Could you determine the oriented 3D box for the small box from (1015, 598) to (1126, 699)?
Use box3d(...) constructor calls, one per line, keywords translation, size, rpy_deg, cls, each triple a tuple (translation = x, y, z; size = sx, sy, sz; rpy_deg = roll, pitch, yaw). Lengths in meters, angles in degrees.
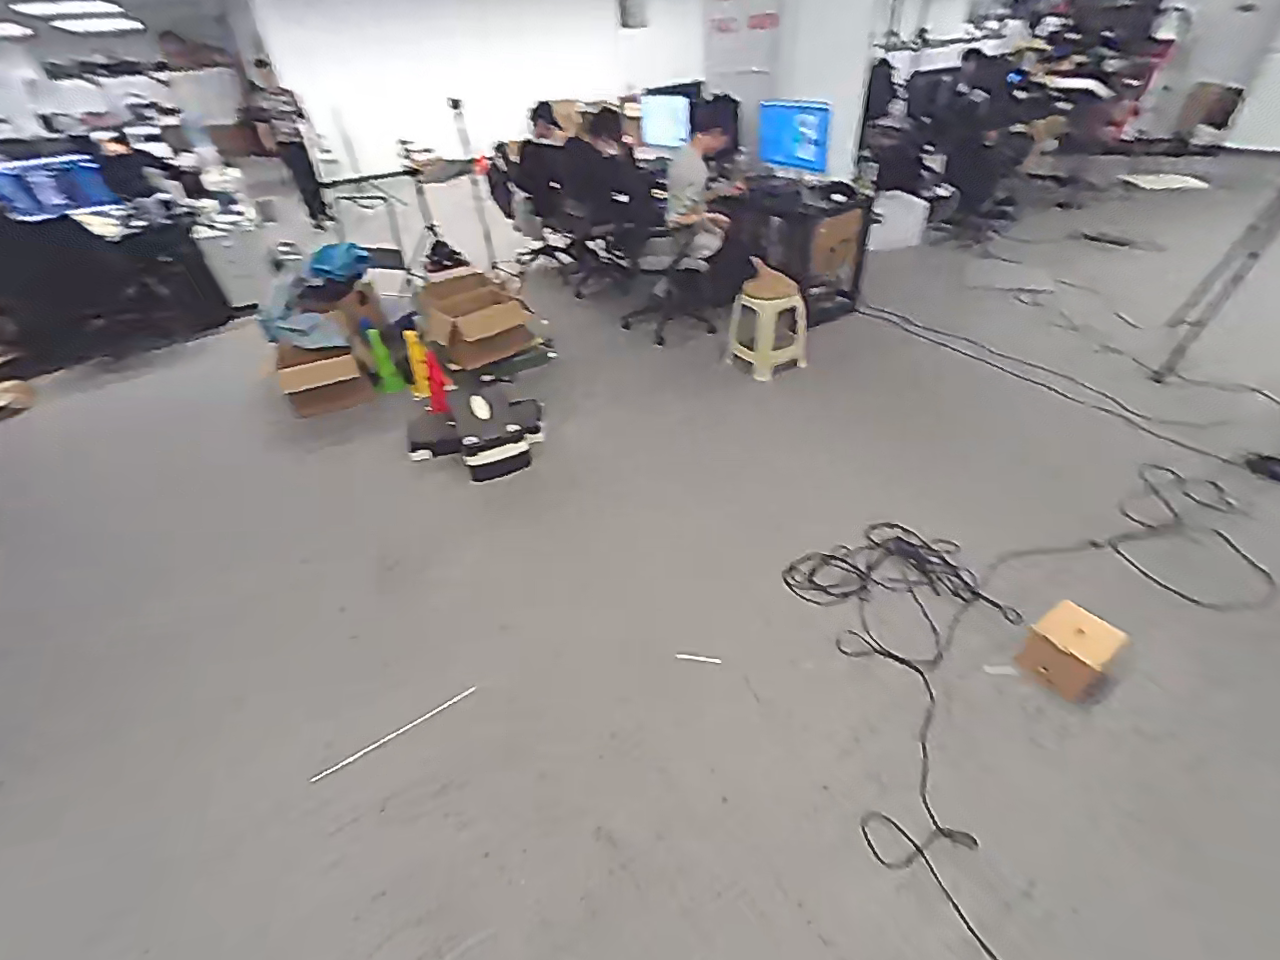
box3d(translation=(1.215, 0.479, 1.539), size=(0.179, 0.176, 0.168), rpy_deg=(-26, 42, -23), cls="small box")
